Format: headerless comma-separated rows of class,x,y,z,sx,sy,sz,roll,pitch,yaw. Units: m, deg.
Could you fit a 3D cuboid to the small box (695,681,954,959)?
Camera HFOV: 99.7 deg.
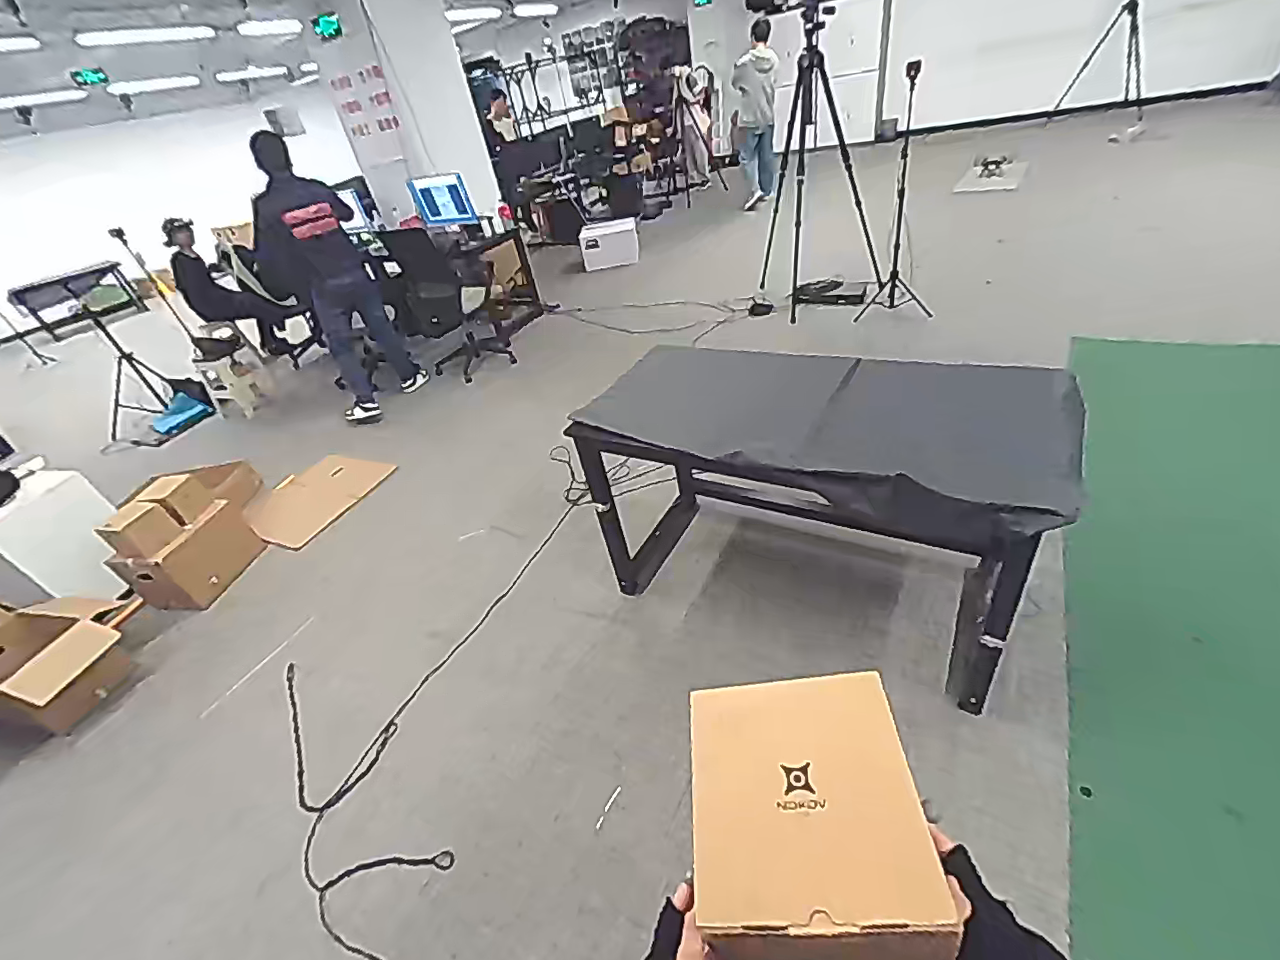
small box,0.144,0.303,0.468,0.168,0.176,0.179,-11,38,12
